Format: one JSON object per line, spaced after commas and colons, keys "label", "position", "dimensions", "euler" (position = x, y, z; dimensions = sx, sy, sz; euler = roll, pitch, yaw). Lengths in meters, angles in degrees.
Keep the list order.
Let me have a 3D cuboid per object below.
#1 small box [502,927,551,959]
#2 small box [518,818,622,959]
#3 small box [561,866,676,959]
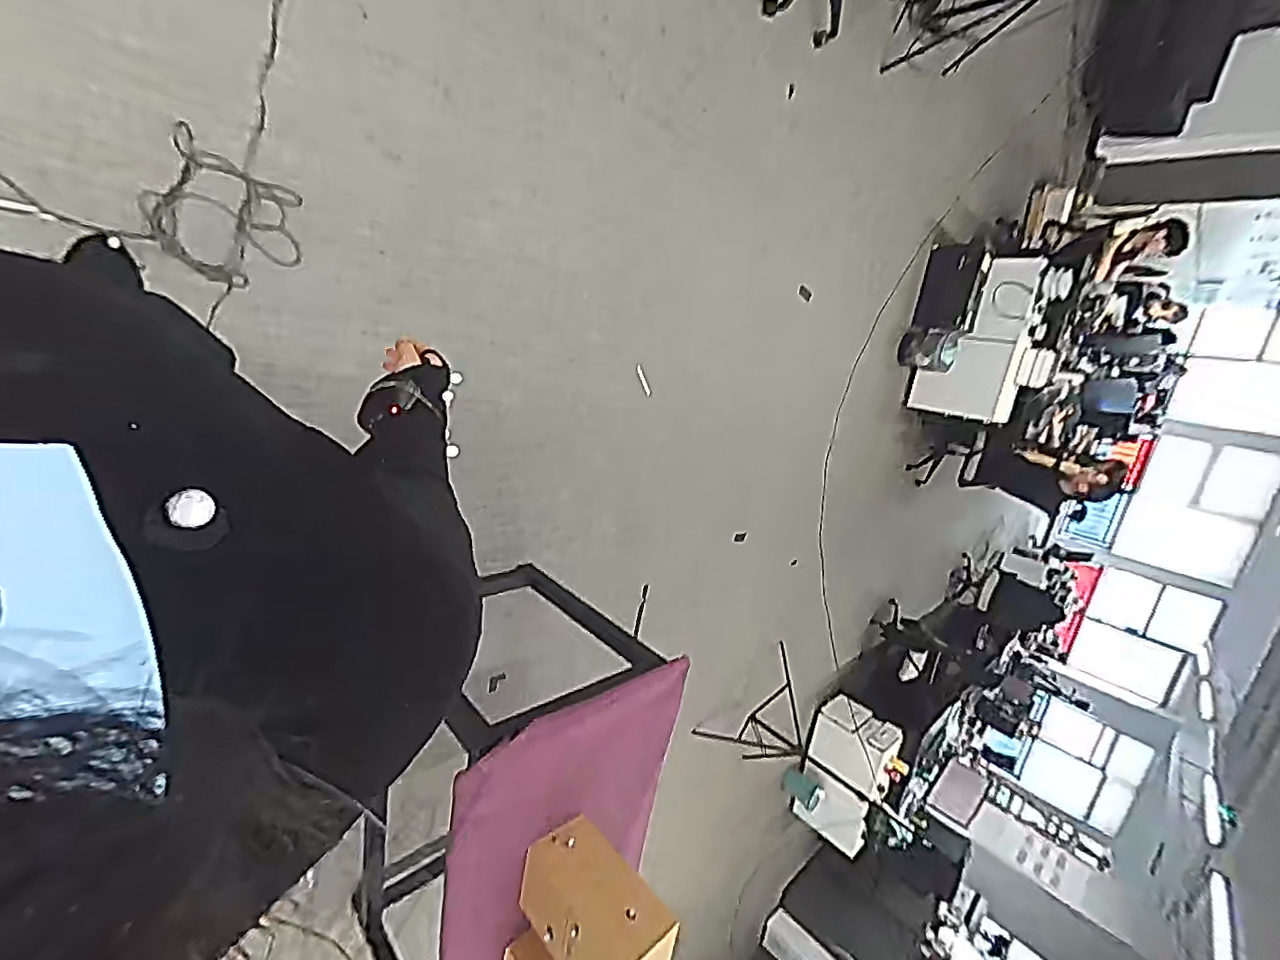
{"label": "small box", "position": [-0.230, 1.227, 1.334], "dimensions": [0.179, 0.176, 0.168], "euler": [-3, 109, -46]}
{"label": "small box", "position": [-0.170, 0.957, 1.278], "dimensions": [0.168, 0.176, 0.179], "euler": [-3, 109, -46]}
{"label": "small box", "position": [-0.052, 1.004, 1.174], "dimensions": [0.179, 0.176, 0.168], "euler": [-5, 111, -45]}
